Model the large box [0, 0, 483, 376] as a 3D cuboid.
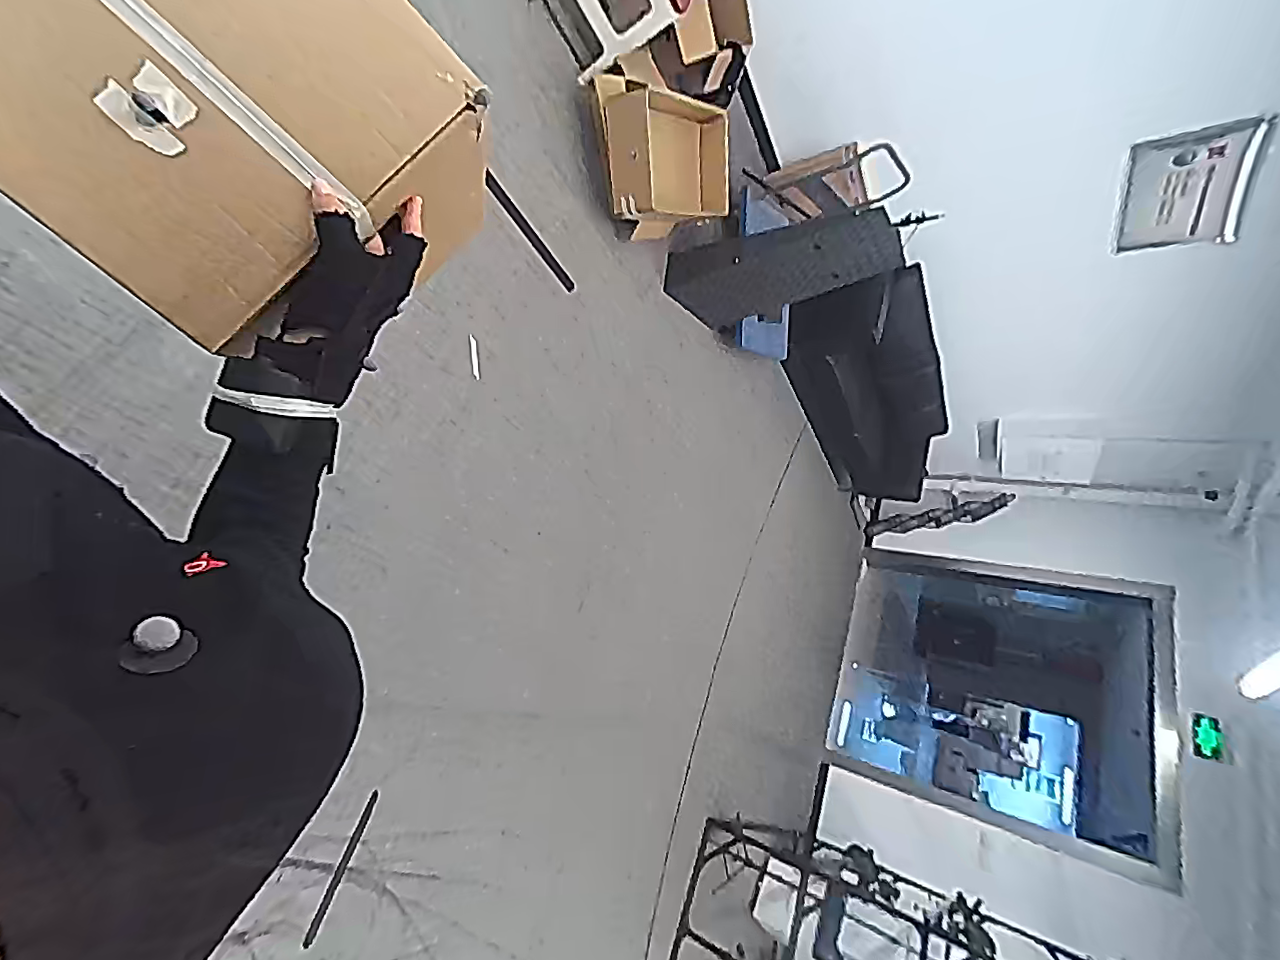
[{"bbox_3d":[-0.419,-0.360,0.536,0.408,0.320,0.320,43,83,-17],"label":"large box"}]
